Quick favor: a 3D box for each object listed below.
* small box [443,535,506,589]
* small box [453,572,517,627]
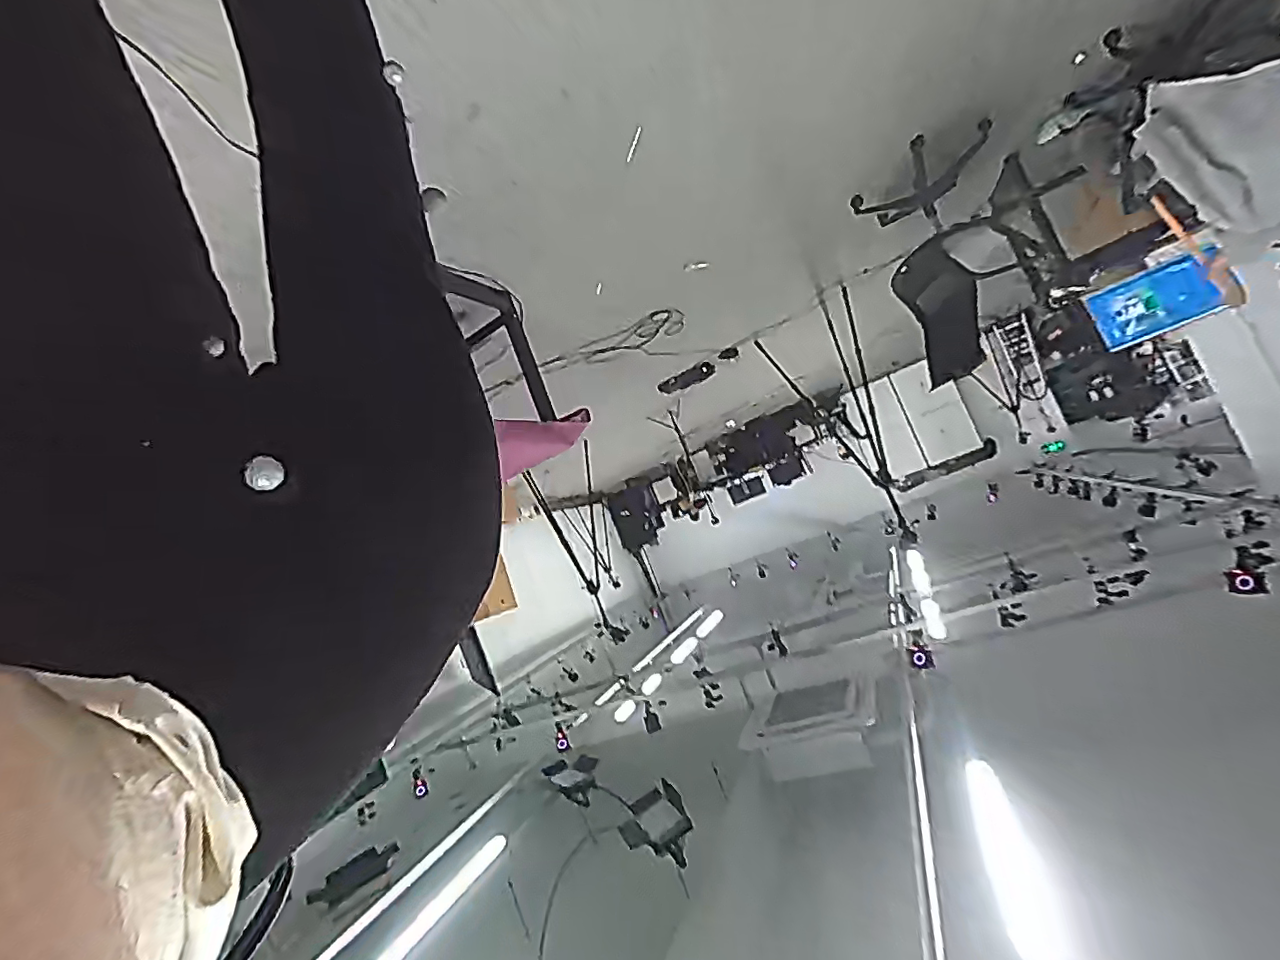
[{"bbox_3d":[-0.710,0.347,2.308,0.168,0.176,0.179,-23,173,24],"label":"small box"},{"bbox_3d":[-0.655,0.499,2.288,0.168,0.176,0.179,-24,171,24],"label":"small box"}]
